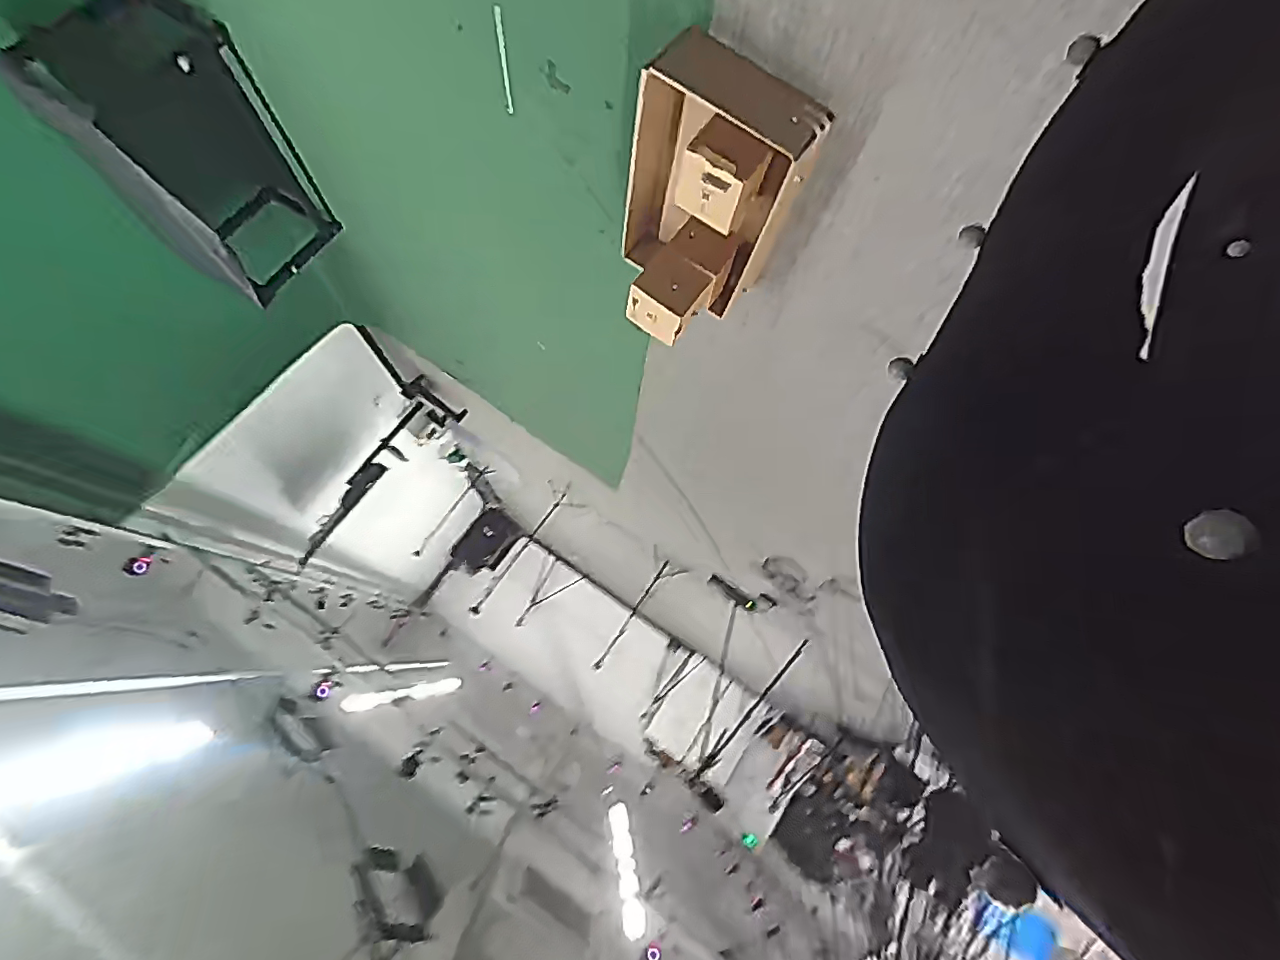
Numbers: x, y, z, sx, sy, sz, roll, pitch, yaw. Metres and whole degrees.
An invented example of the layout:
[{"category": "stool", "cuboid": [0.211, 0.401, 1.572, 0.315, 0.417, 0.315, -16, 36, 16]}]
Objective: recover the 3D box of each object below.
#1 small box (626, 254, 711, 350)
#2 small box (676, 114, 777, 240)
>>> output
[{"category": "small box", "cuboid": [0.084, -0.524, 1.589, 0.179, 0.176, 0.168, 34, 162, 2]}, {"category": "small box", "cuboid": [0.212, -0.746, 1.331, 0.168, 0.176, 0.179, 34, 163, 4]}]
